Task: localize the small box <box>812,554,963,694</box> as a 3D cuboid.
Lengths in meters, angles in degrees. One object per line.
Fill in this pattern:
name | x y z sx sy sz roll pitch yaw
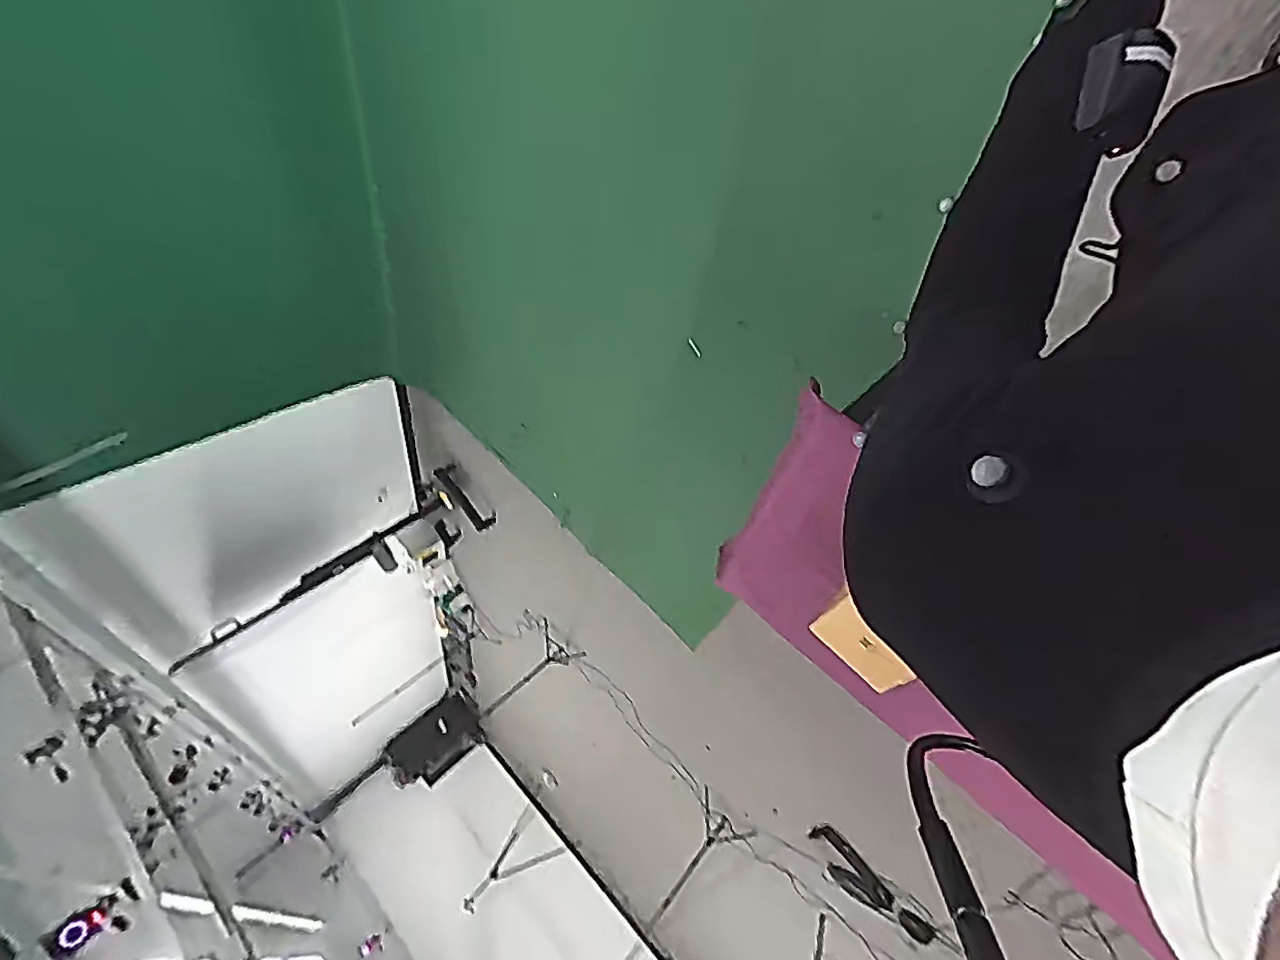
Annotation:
small box | 0.475 0.267 1.039 0.179 0.176 0.168 41 141 15
